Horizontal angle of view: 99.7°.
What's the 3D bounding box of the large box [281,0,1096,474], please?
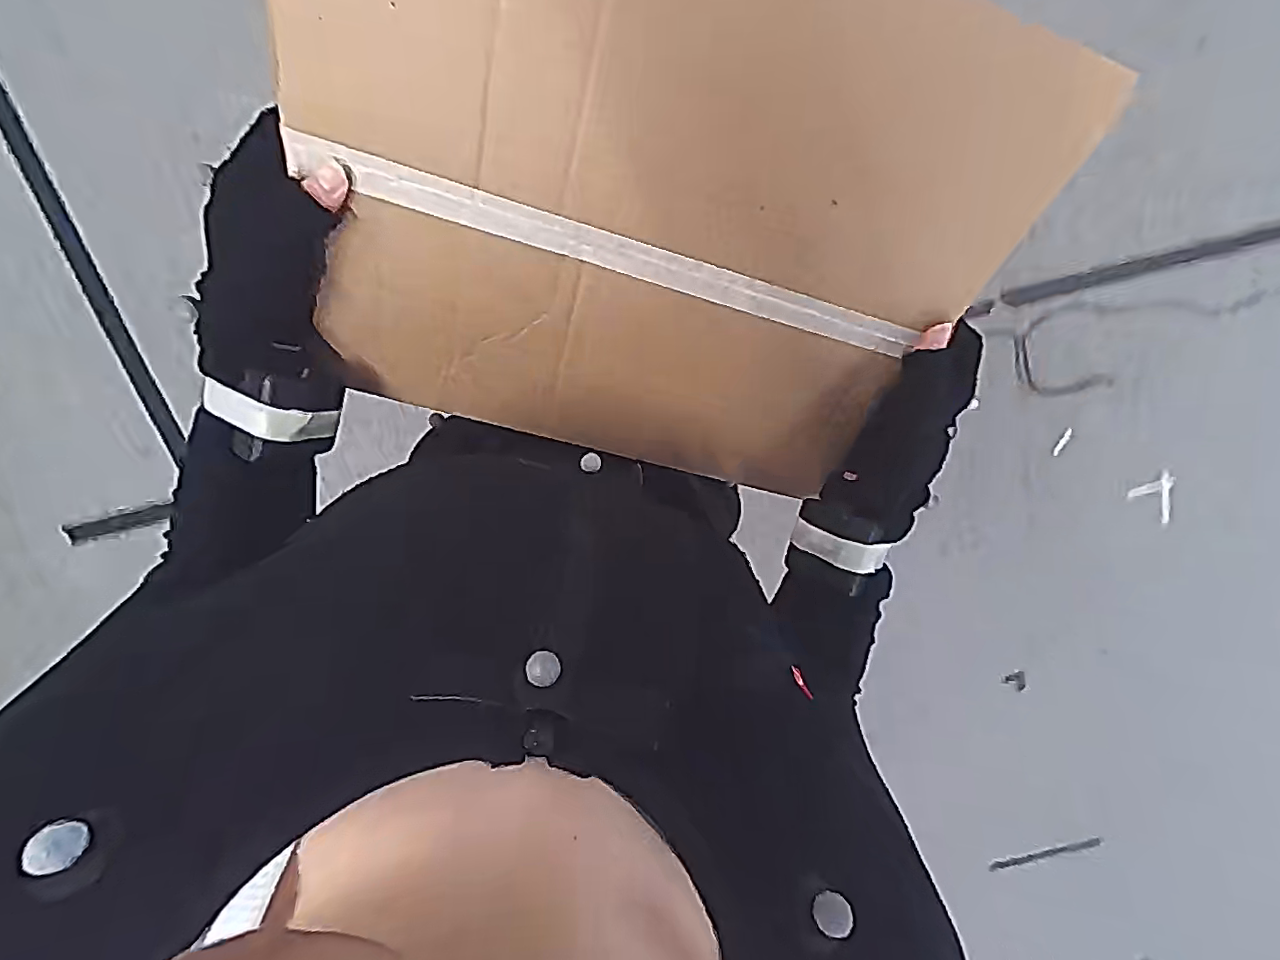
[{"bbox_3d":[0.005,-0.248,0.444,0.408,0.320,0.320,11,133,-11],"label":"large box"}]
